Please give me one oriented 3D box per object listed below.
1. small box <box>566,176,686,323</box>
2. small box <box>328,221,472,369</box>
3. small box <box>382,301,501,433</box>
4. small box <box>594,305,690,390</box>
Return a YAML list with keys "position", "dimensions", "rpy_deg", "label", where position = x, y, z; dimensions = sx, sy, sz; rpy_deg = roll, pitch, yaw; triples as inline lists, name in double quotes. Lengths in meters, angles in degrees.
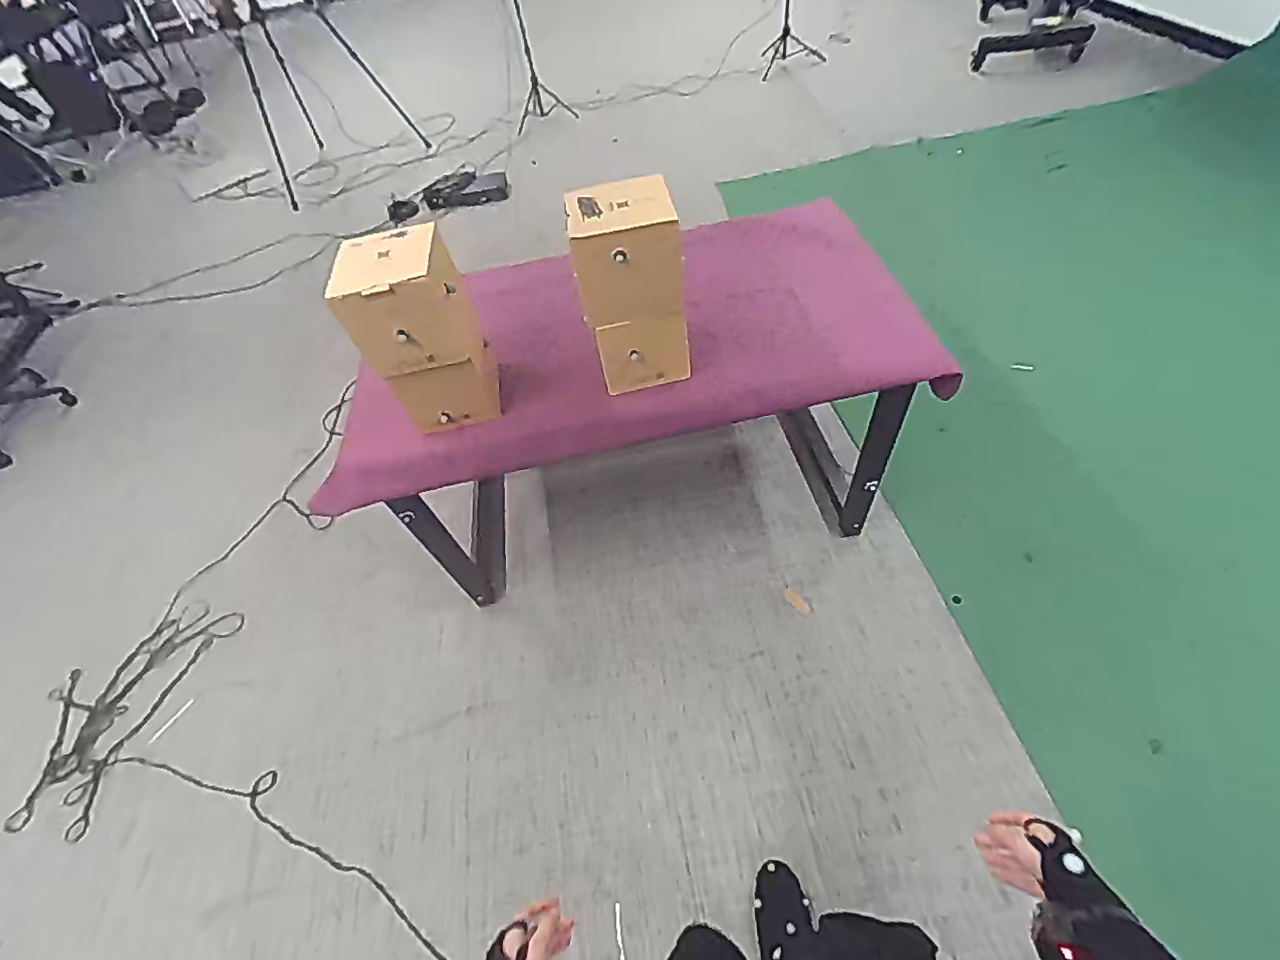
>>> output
- position: [-0.023, -0.396, 0.943]
  dimensions: [0.179, 0.176, 0.168]
  rpy_deg: [-10, 51, 1]
  label: "small box"
- position: [-0.401, -0.311, 0.939]
  dimensions: [0.168, 0.176, 0.179]
  rpy_deg: [-11, 53, 0]
  label: "small box"
- position: [-0.384, -0.222, 1.075]
  dimensions: [0.168, 0.176, 0.179]
  rpy_deg: [-13, 53, 0]
  label: "small box"
- position: [-0.002, -0.298, 1.073]
  dimensions: [0.168, 0.176, 0.179]
  rpy_deg: [-13, 51, -1]
  label: "small box"
